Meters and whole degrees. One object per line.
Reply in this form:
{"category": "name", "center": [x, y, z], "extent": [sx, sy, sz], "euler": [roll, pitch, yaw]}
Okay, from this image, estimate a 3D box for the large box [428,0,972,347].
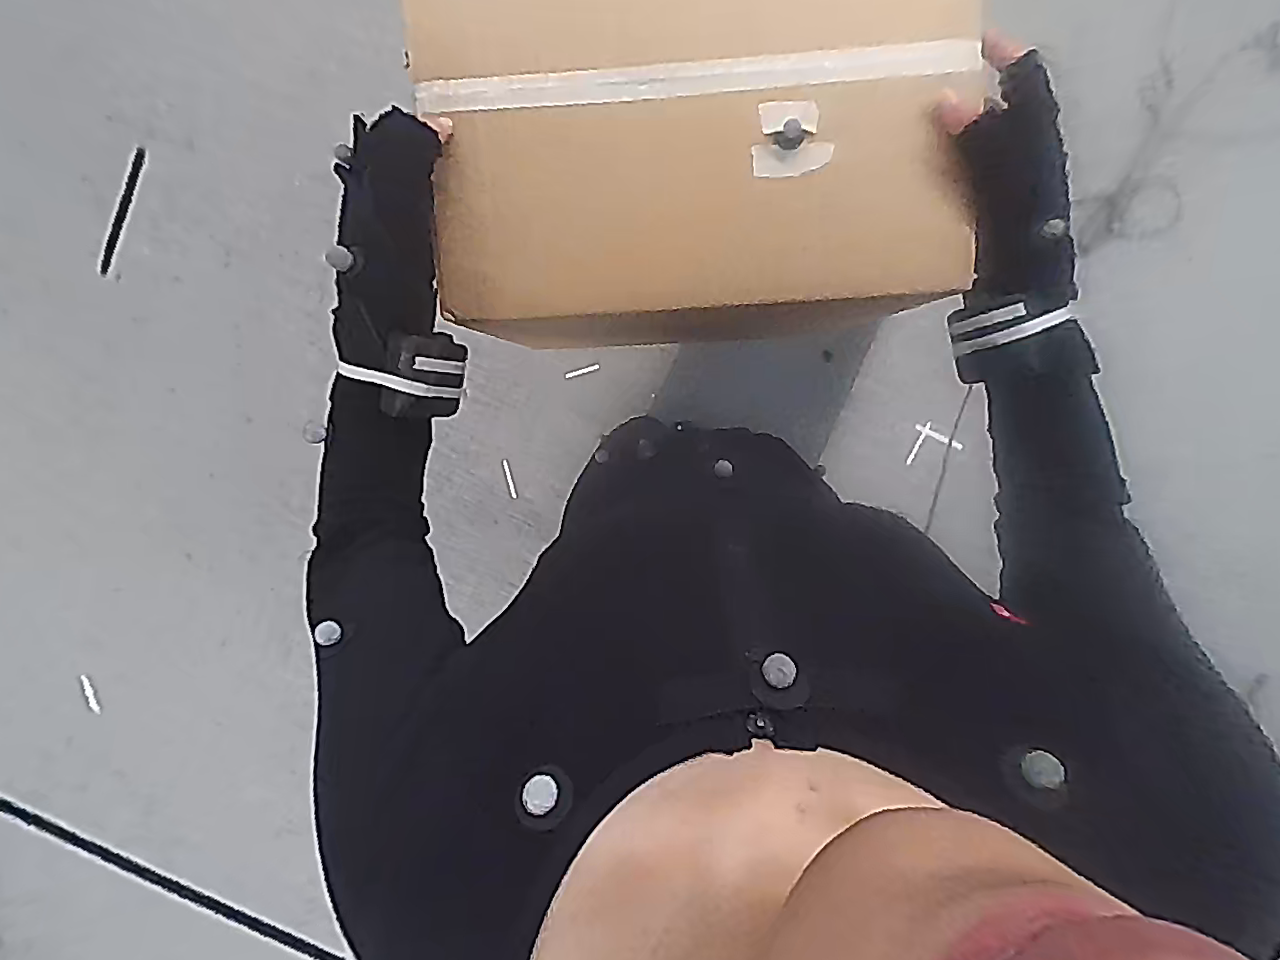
{"category": "large box", "center": [0.046, -0.318, 0.551], "extent": [0.408, 0.320, 0.320], "euler": [-3, 99, 1]}
